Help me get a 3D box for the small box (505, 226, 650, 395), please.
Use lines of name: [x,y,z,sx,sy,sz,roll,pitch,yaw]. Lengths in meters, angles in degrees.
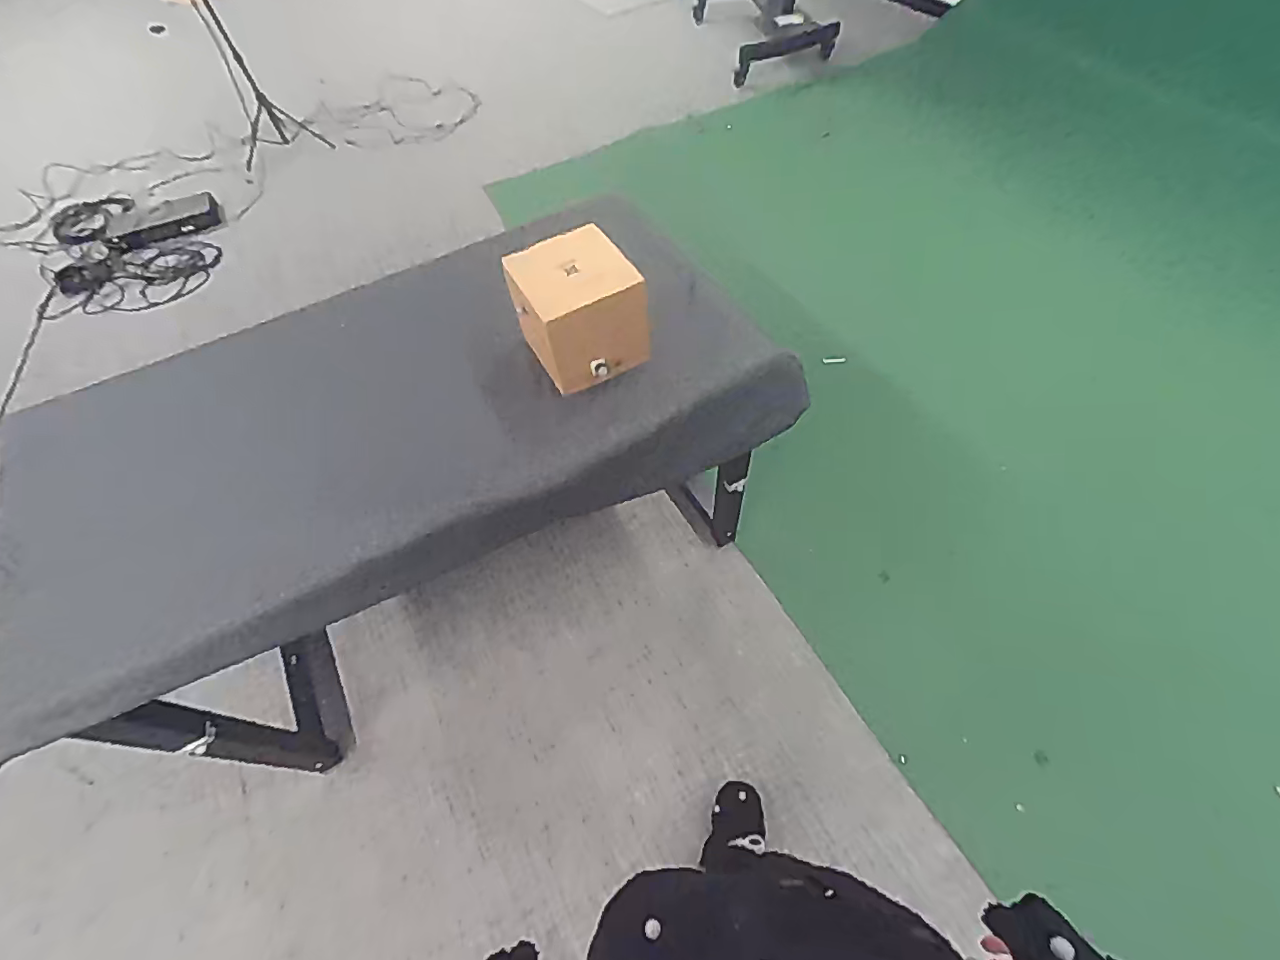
small box: [-0.096,-0.274,0.887,0.168,0.176,0.179,-28,60,-11]
